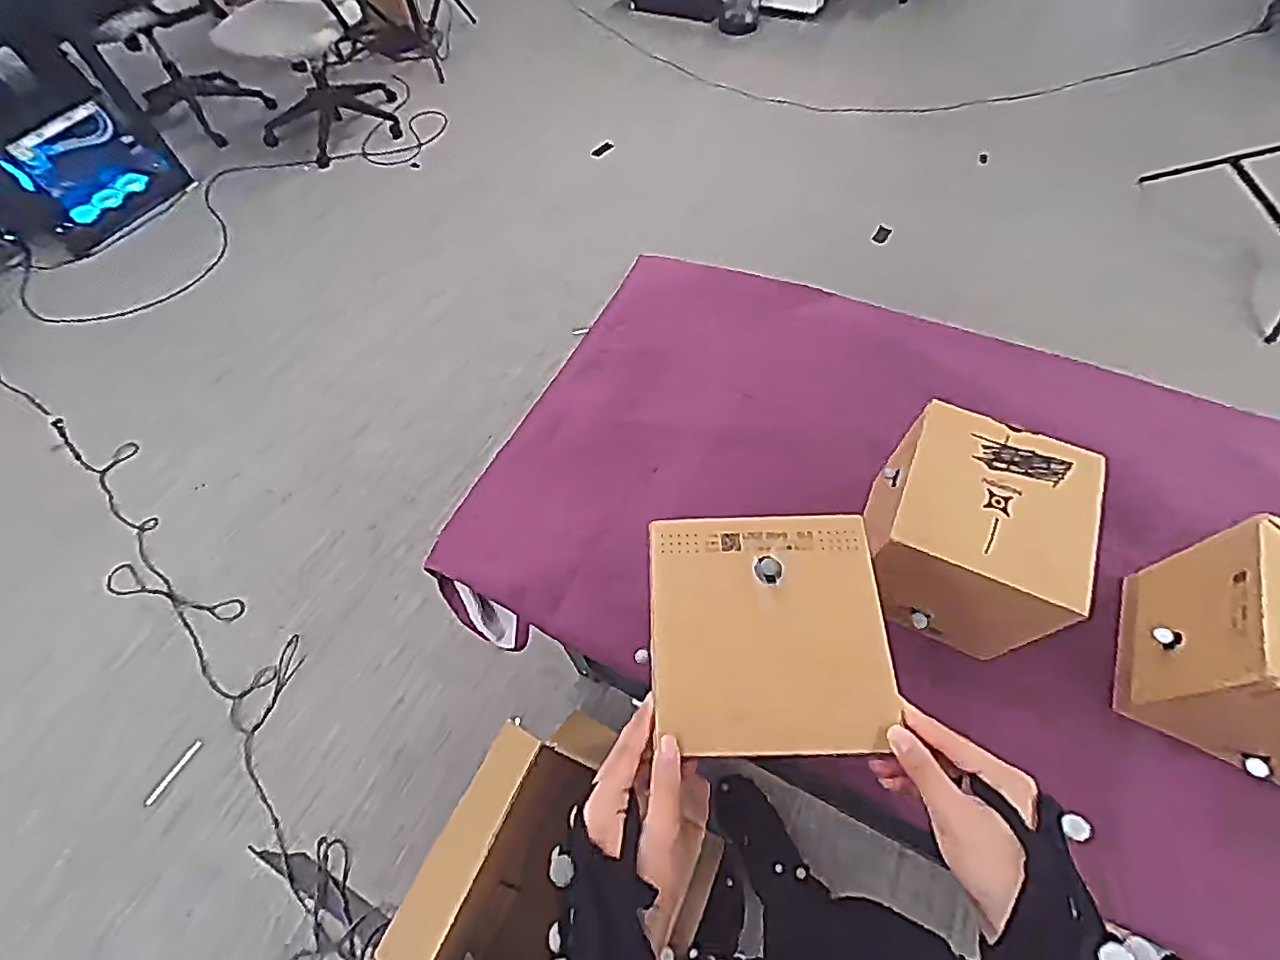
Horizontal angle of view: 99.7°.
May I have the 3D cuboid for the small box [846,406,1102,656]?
[{"bbox_3d":[0.341,0.059,0.577,0.168,0.176,0.179,23,63,15],"label":"small box"}]
